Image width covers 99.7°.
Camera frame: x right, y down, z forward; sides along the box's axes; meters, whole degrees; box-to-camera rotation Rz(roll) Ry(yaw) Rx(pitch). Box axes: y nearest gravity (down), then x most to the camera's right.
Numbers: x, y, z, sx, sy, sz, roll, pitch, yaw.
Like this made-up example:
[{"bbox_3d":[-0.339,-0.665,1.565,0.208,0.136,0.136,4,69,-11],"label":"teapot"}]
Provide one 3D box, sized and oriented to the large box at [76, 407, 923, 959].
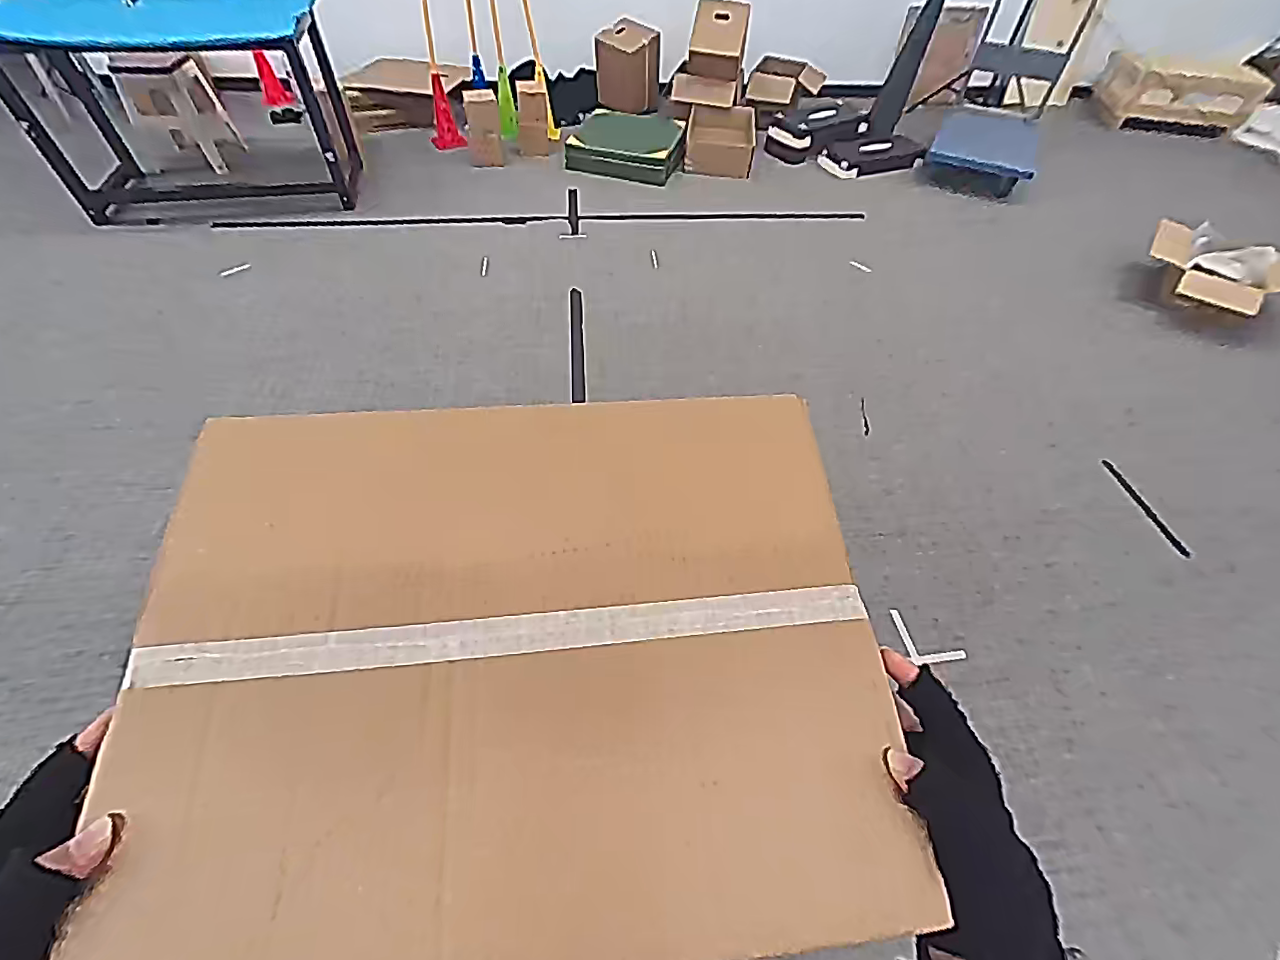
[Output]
[{"bbox_3d":[-0.076,0.162,0.446,0.408,0.320,0.320,-4,63,-6],"label":"large box"}]
